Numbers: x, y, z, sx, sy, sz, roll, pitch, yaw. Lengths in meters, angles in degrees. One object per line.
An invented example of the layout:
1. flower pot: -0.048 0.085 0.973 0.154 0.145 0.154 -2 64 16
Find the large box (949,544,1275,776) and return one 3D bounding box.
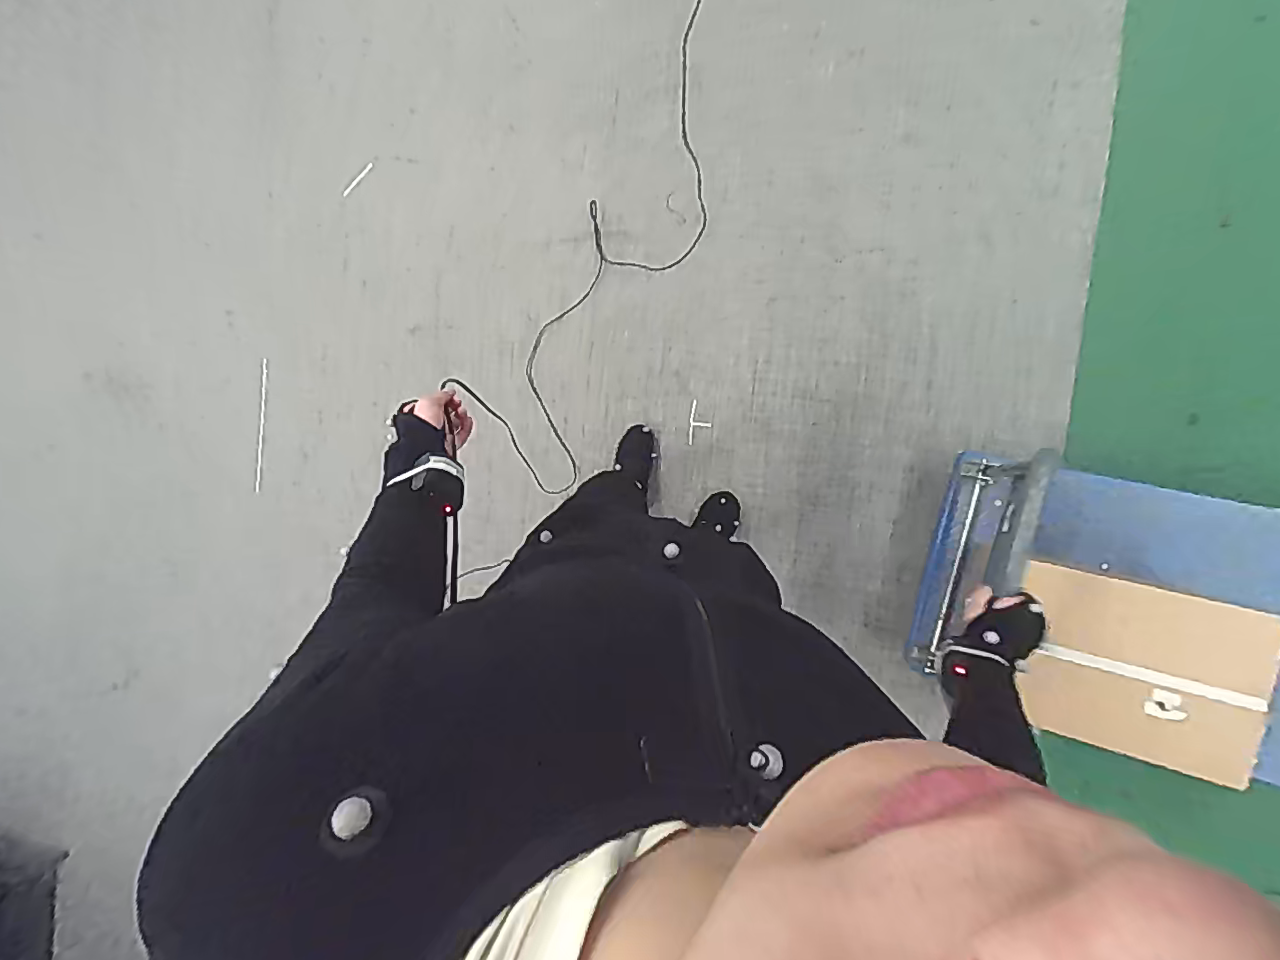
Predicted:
1. large box: 0.929 0.336 1.140 0.408 0.320 0.320 13 94 19
